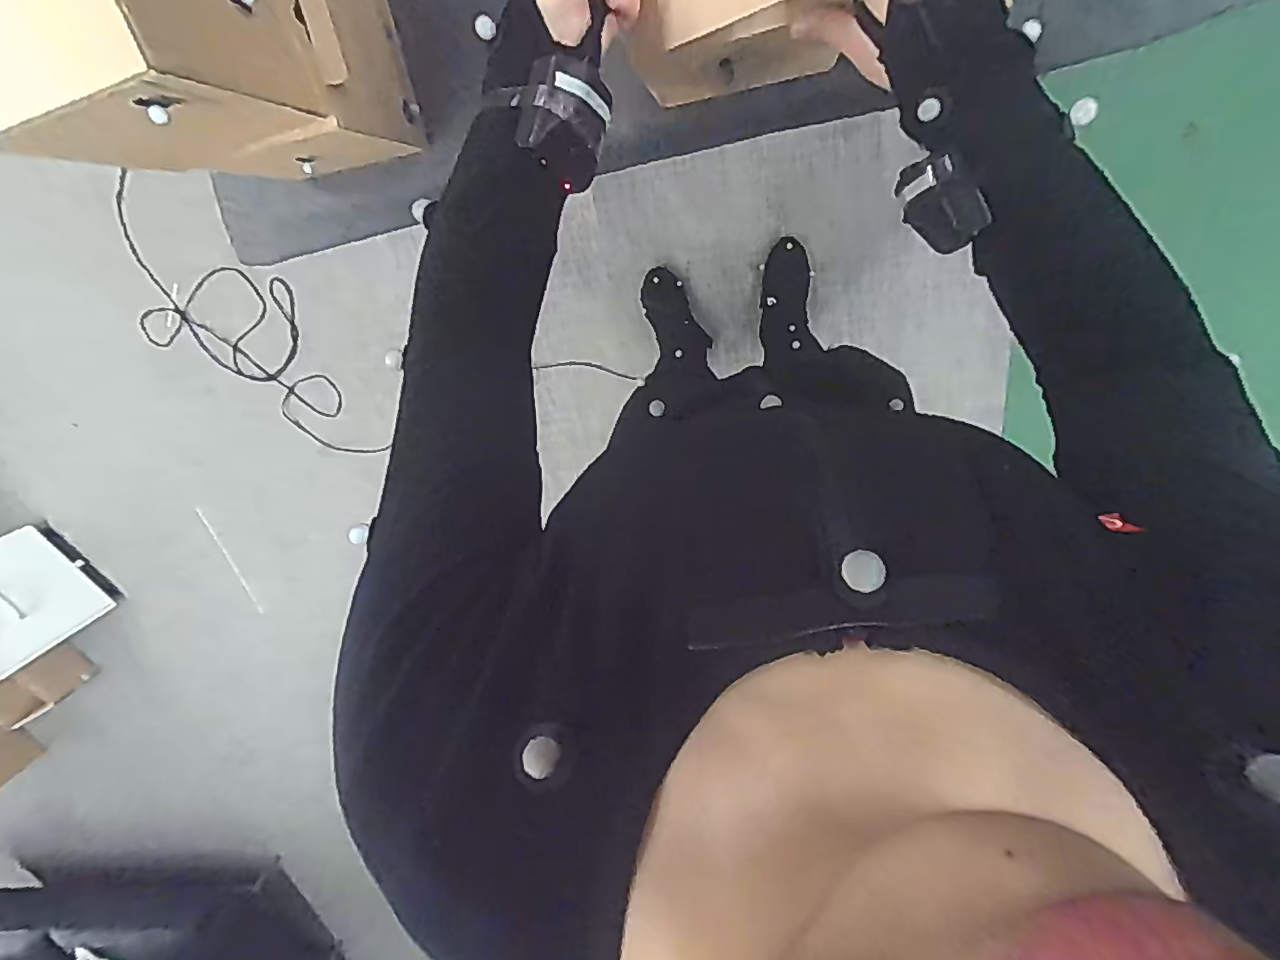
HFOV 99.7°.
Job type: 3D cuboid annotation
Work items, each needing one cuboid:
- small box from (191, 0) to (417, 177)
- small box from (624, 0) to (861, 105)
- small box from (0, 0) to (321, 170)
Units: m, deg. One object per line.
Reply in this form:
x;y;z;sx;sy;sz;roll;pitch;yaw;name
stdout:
-0.349;-0.411;0.536;0.179;0.176;0.168;-5;115;12;small box
0.083;-0.440;0.454;0.179;0.176;0.168;-3;114;14;small box
-0.386;-0.342;0.393;0.179;0.176;0.168;-10;114;13;small box
